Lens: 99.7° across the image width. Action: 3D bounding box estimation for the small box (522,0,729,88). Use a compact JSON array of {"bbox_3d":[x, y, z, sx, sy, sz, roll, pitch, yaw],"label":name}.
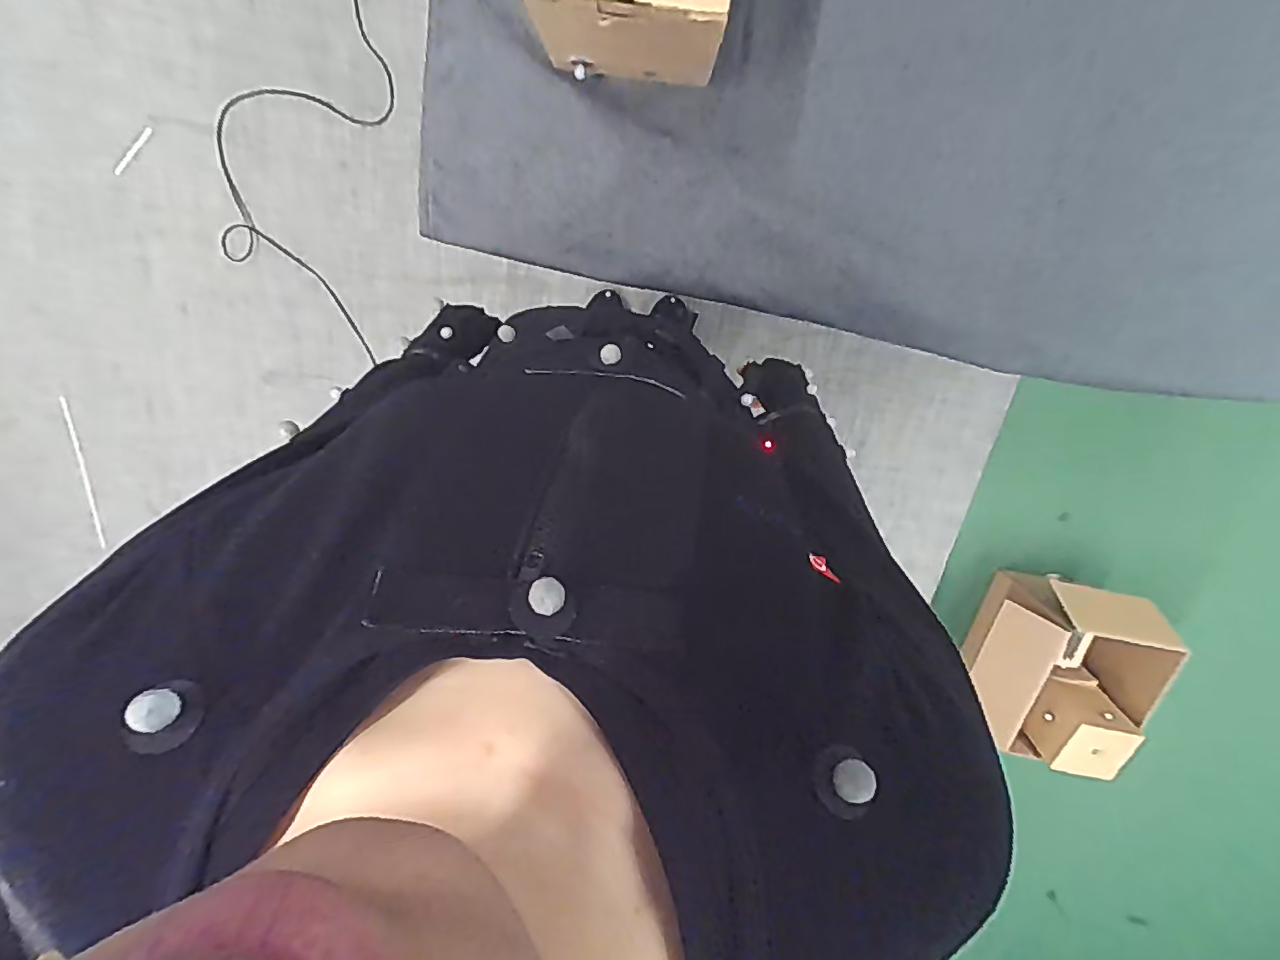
[{"bbox_3d":[-0.001,-0.471,0.467,0.168,0.176,0.179,6,110,-2],"label":"small box"}]
